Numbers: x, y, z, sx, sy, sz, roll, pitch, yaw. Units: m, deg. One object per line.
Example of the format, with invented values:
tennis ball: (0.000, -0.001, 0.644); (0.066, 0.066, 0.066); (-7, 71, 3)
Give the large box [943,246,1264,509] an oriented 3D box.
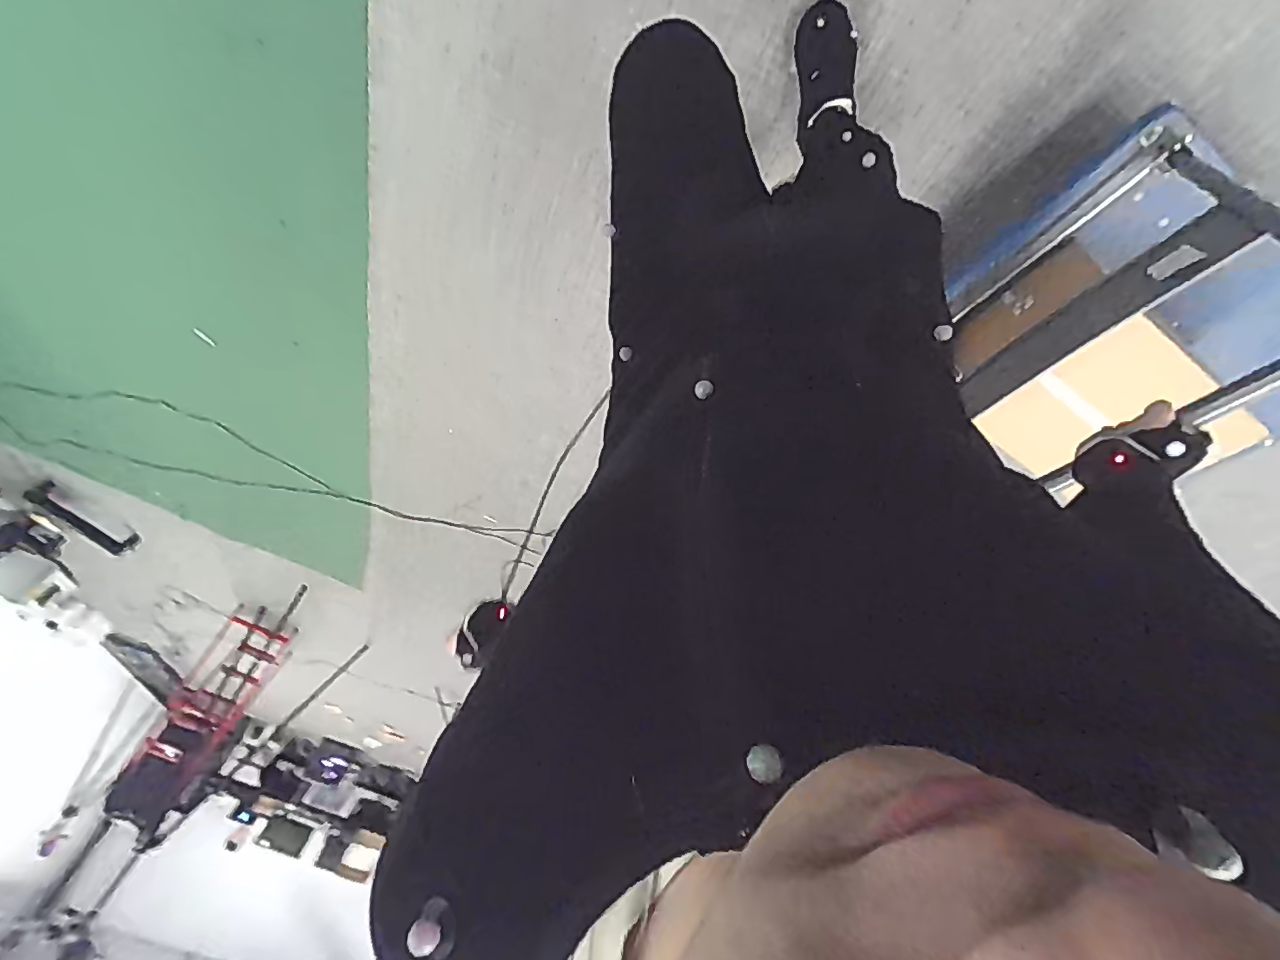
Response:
large box: (0.943, -0.213, 1.158); (0.408, 0.320, 0.320); (31, 135, -14)
